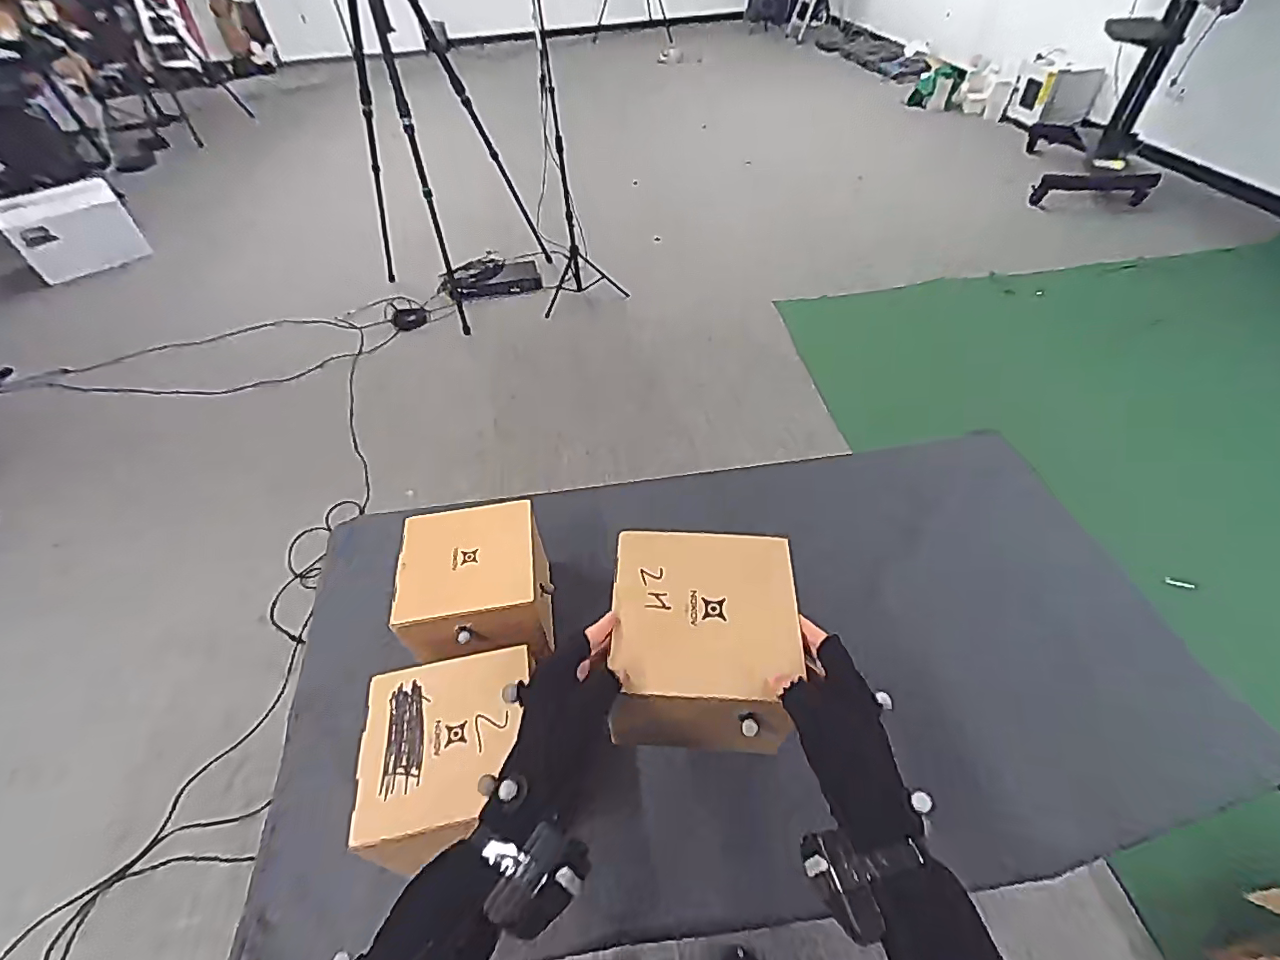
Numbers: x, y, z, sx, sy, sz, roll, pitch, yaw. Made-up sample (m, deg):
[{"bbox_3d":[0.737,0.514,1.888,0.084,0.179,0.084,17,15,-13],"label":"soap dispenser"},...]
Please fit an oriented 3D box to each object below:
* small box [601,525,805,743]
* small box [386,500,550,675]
[{"bbox_3d":[0.059,0.165,0.567,0.179,0.176,0.168,2,50,3],"label":"small box"},{"bbox_3d":[-0.225,0.153,0.758,0.179,0.176,0.168,-9,49,-4],"label":"small box"}]
